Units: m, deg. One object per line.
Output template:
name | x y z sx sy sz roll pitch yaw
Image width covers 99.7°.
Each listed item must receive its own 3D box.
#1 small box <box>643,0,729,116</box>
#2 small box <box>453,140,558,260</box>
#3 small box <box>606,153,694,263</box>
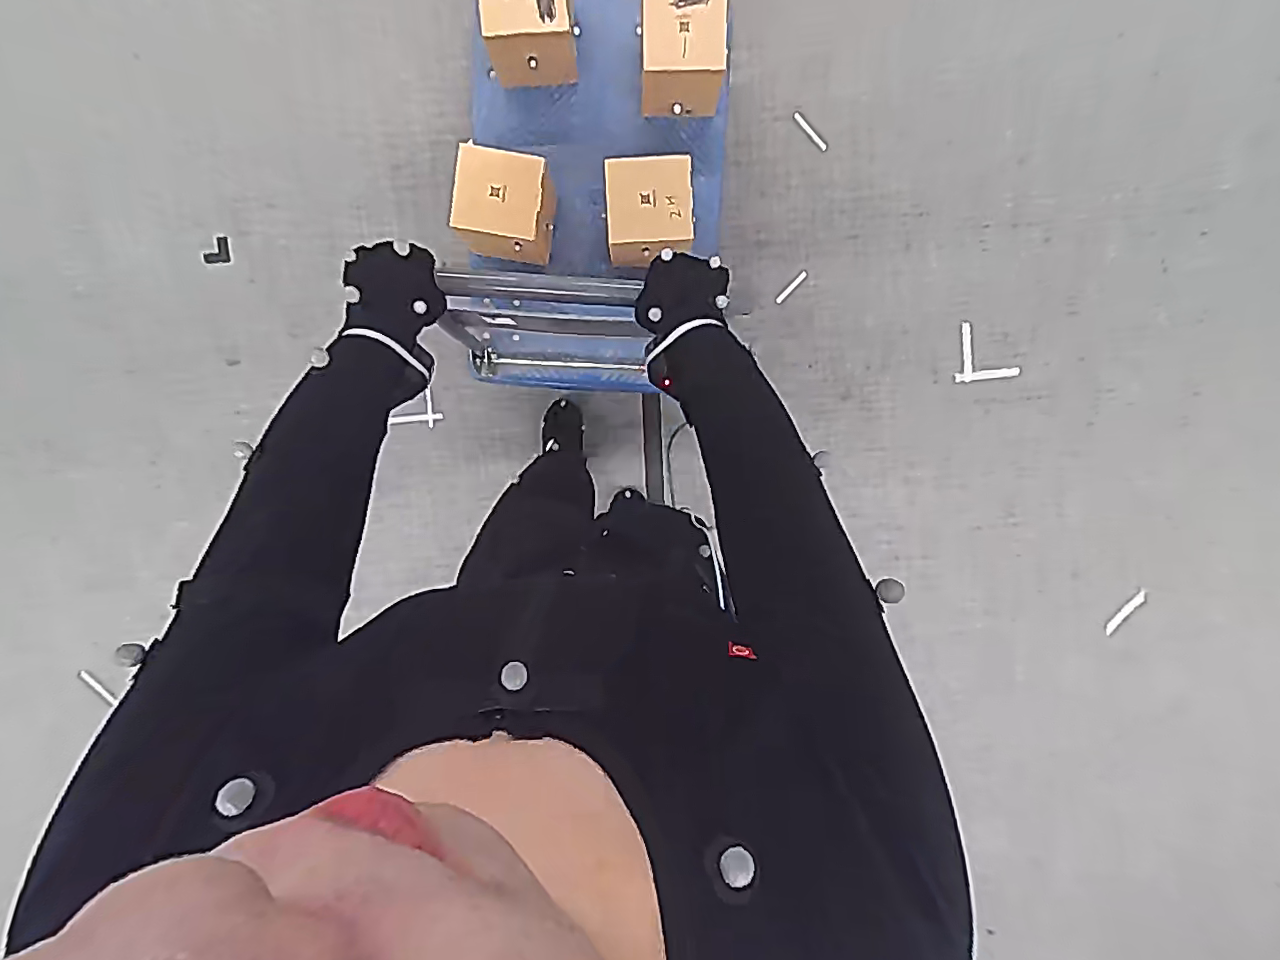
small box | 0.091 -0.909 1.140 0.168 0.176 0.179 0 96 0
small box | -0.283 -0.594 1.170 0.179 0.176 0.168 9 95 -3
small box | 0.022 -0.579 1.172 0.179 0.176 0.168 -2 96 0
